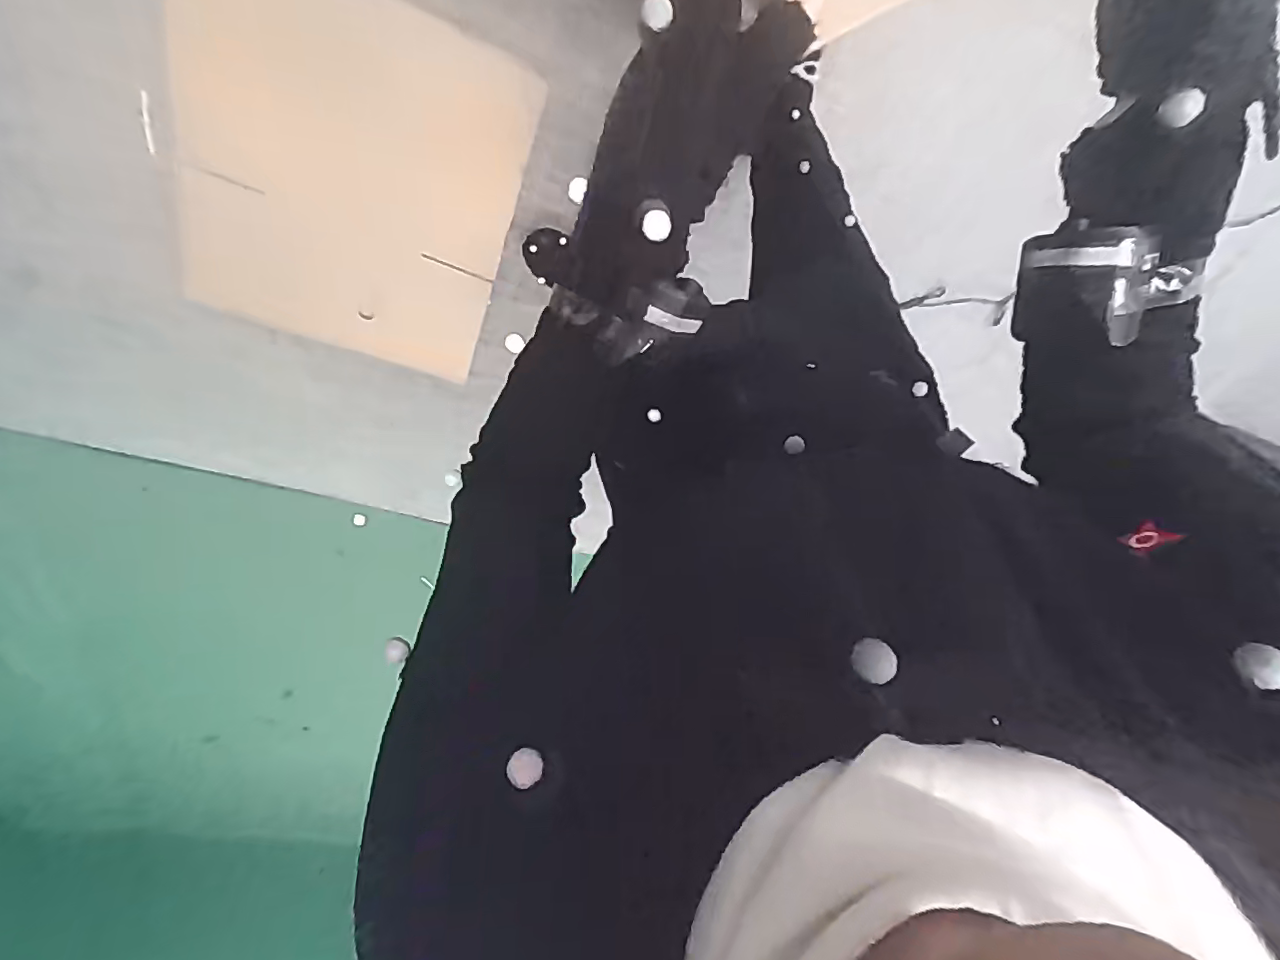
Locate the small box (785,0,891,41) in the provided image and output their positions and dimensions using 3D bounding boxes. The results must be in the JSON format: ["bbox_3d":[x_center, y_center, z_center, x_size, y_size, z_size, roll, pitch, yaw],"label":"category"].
[{"bbox_3d":[0.117,-0.370,0.253,0.168,0.176,0.179,-20,146,15],"label":"small box"}]
